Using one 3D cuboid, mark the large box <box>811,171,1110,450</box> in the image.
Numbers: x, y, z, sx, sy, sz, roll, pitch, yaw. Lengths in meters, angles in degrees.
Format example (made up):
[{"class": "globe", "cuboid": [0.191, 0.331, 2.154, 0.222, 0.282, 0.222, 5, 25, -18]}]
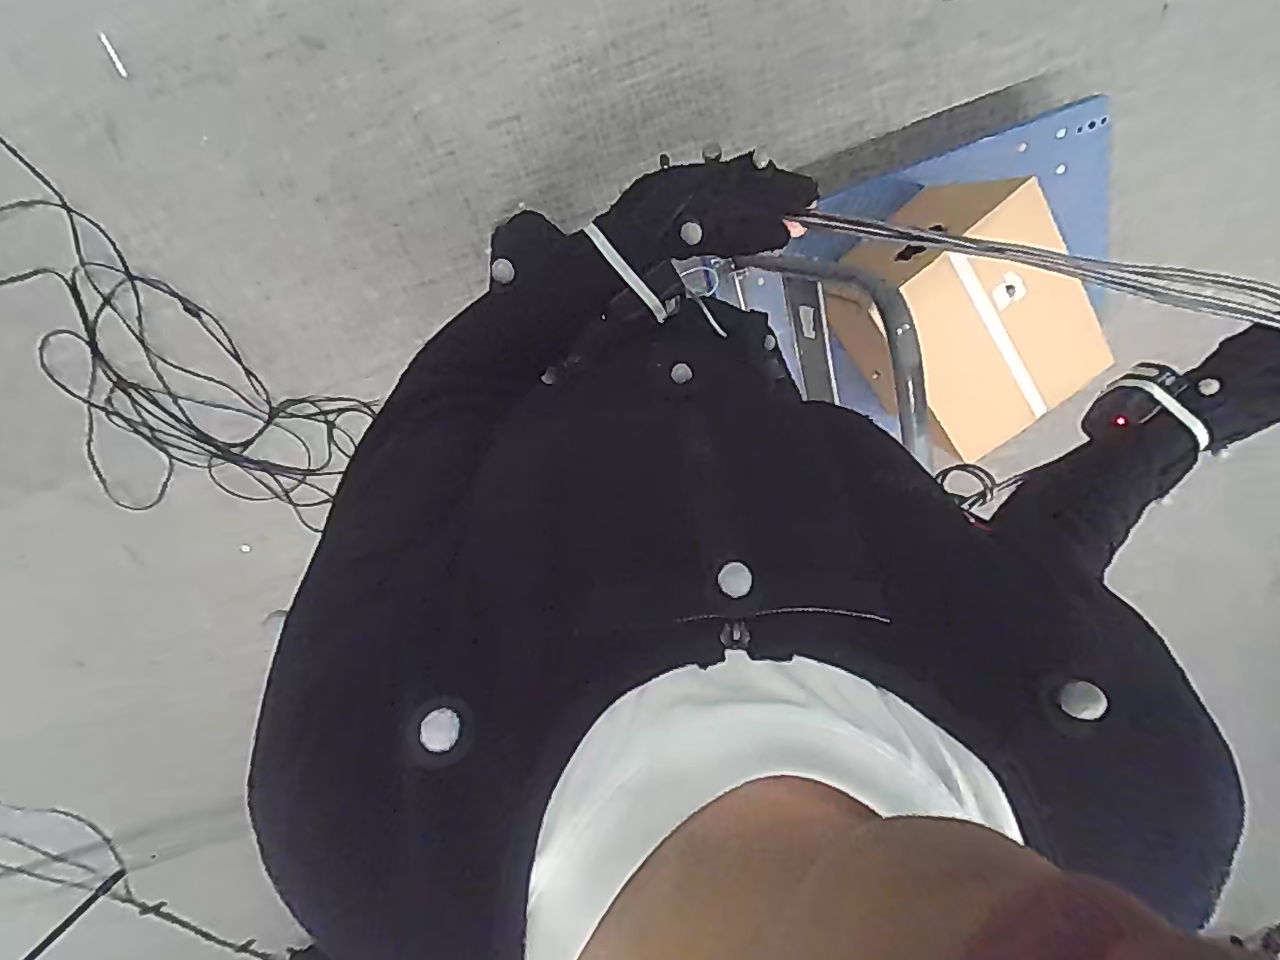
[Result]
[{"class": "large box", "cuboid": [0.626, -0.341, 1.106, 0.320, 0.320, 0.408, -39, 112, 13]}]
